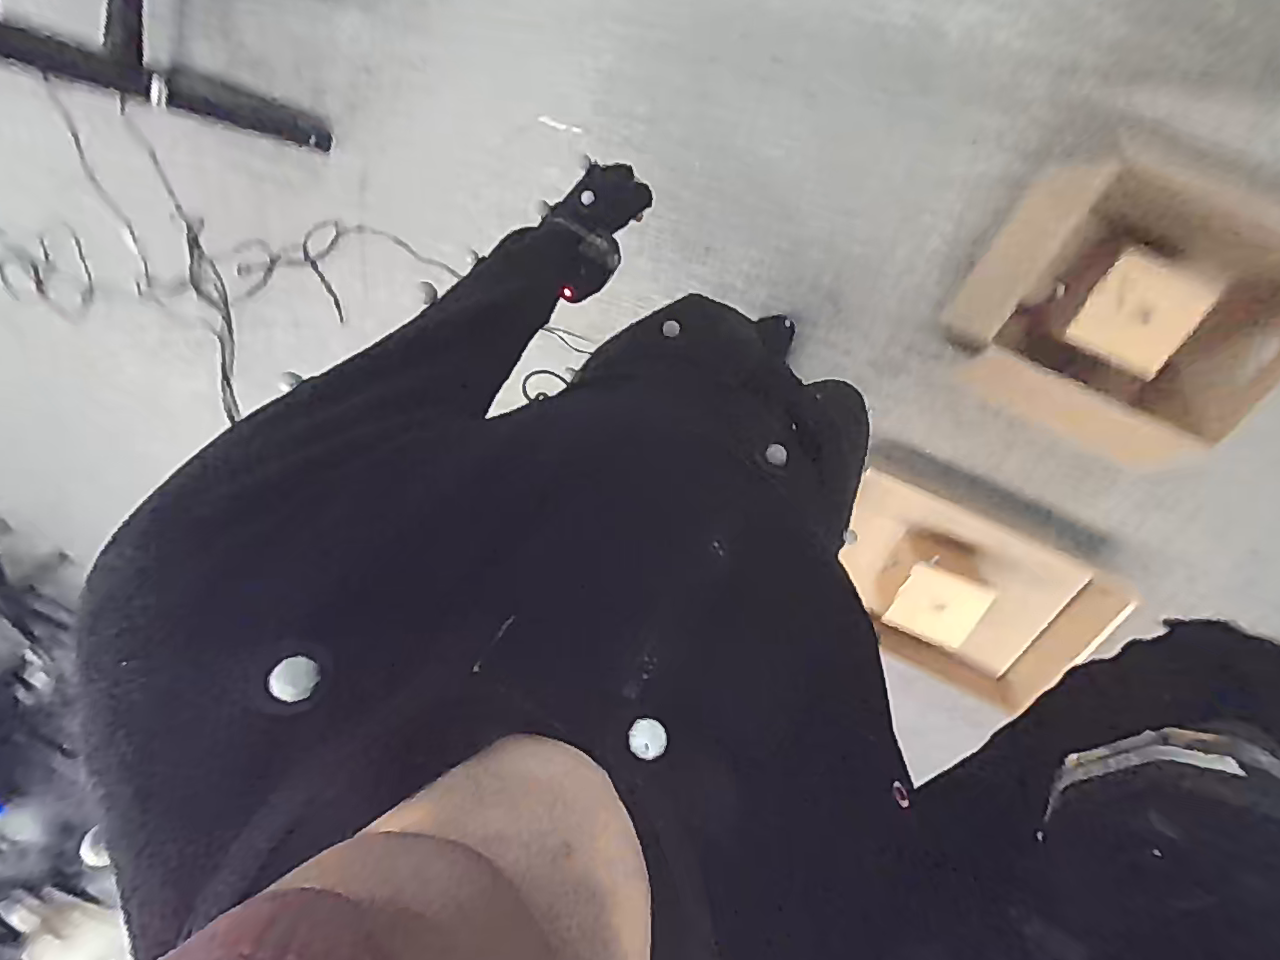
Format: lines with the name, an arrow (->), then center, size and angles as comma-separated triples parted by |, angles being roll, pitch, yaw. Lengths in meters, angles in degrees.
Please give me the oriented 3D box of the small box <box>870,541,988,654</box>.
small box -> 0.670, 0.268, 1.278 | 0.179, 0.176, 0.168 | 22, 113, 8
